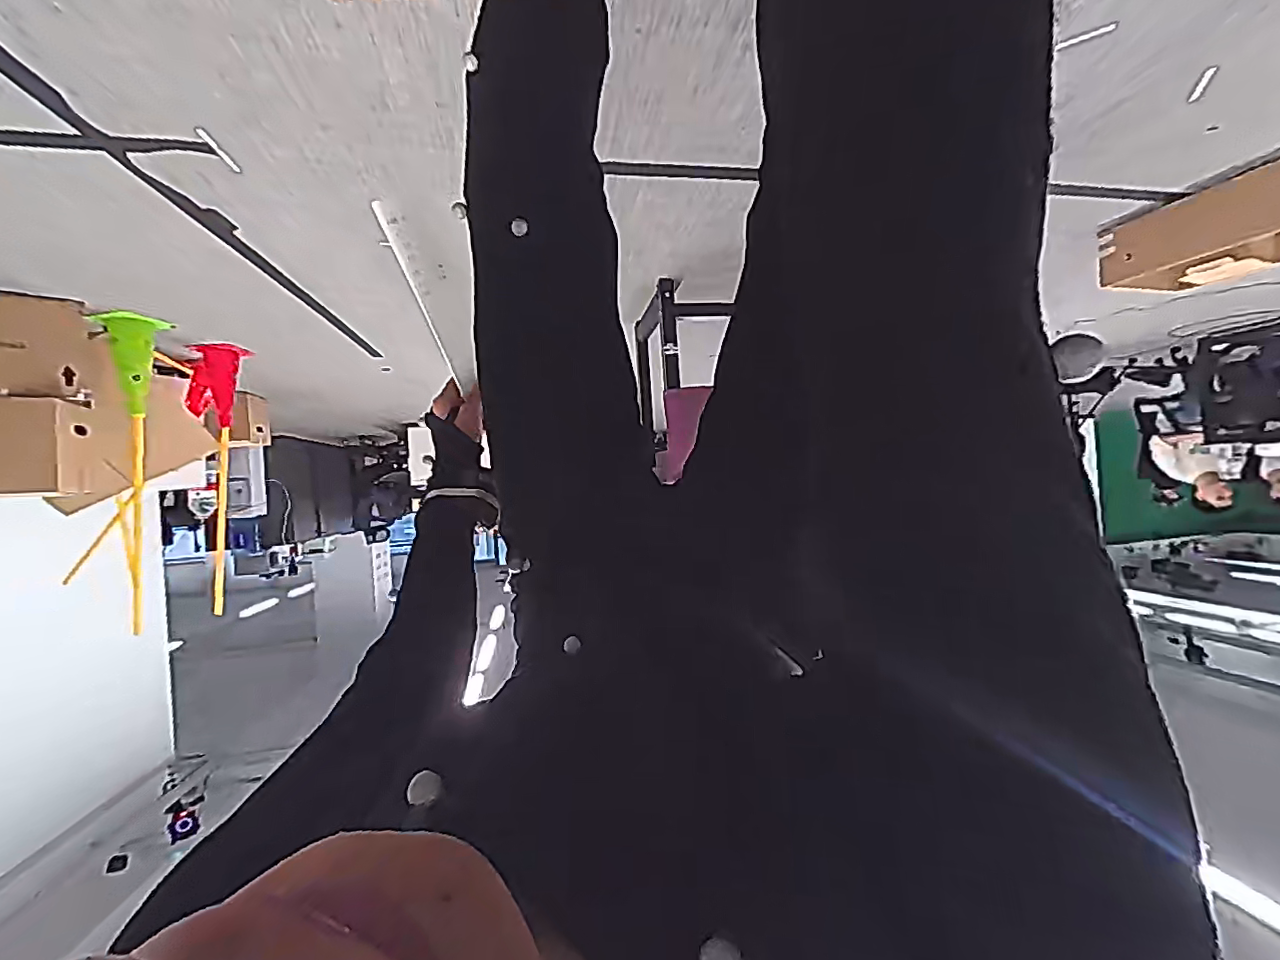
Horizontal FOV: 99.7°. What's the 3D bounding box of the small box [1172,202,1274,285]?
[{"bbox_3d":[1.746,-0.706,1.622,0.179,0.176,0.168,-3,180,-25],"label":"small box"}]
